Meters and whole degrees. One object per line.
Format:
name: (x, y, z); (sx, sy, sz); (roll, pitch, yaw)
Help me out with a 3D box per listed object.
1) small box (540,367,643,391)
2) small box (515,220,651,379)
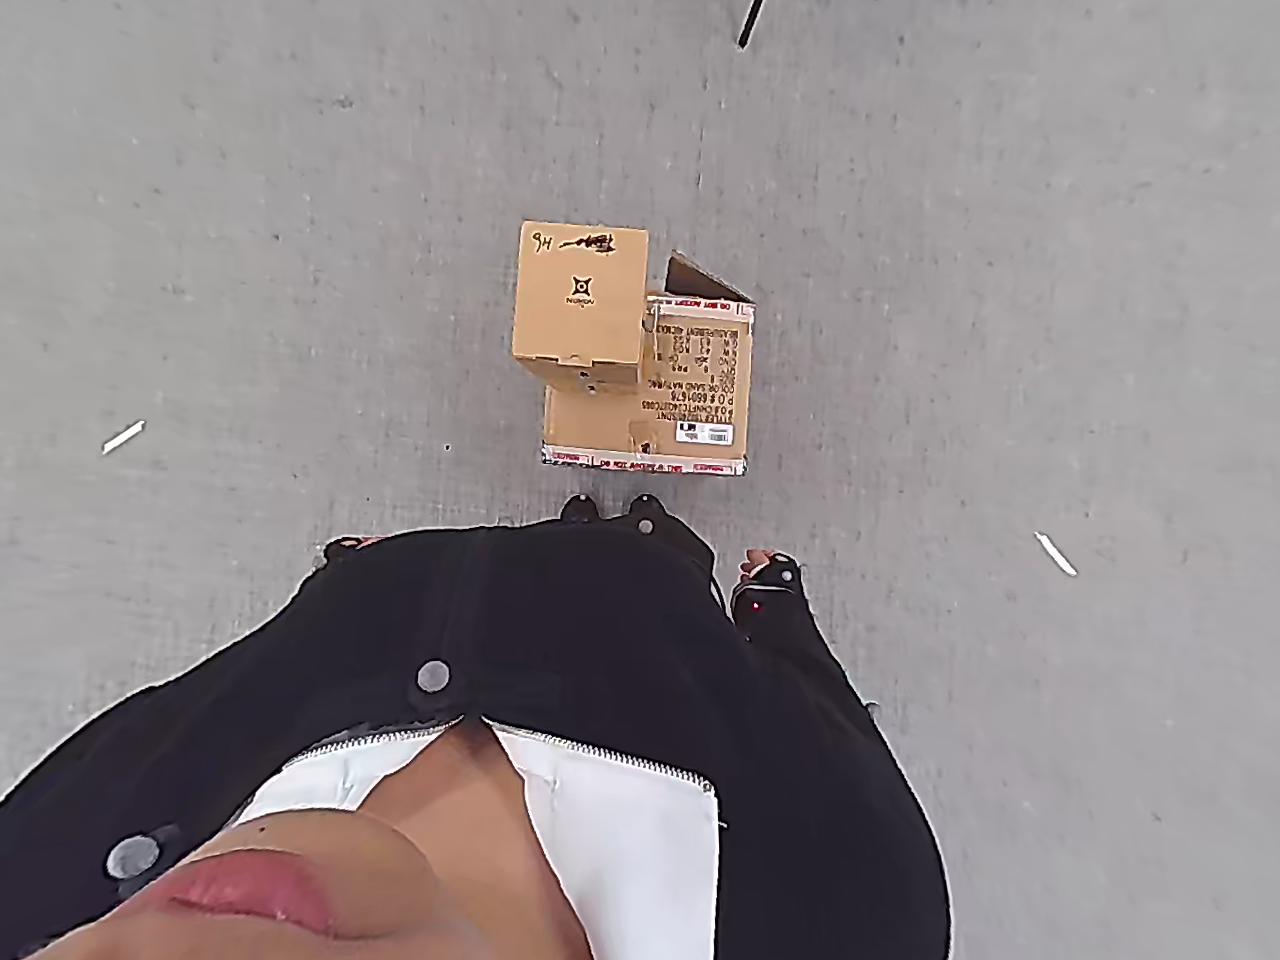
small box: (-0.075, -0.258, 0.936); (0.168, 0.176, 0.179); (3, 92, 1)
small box: (-0.072, -0.244, 0.772); (0.168, 0.176, 0.179); (4, 92, 1)
